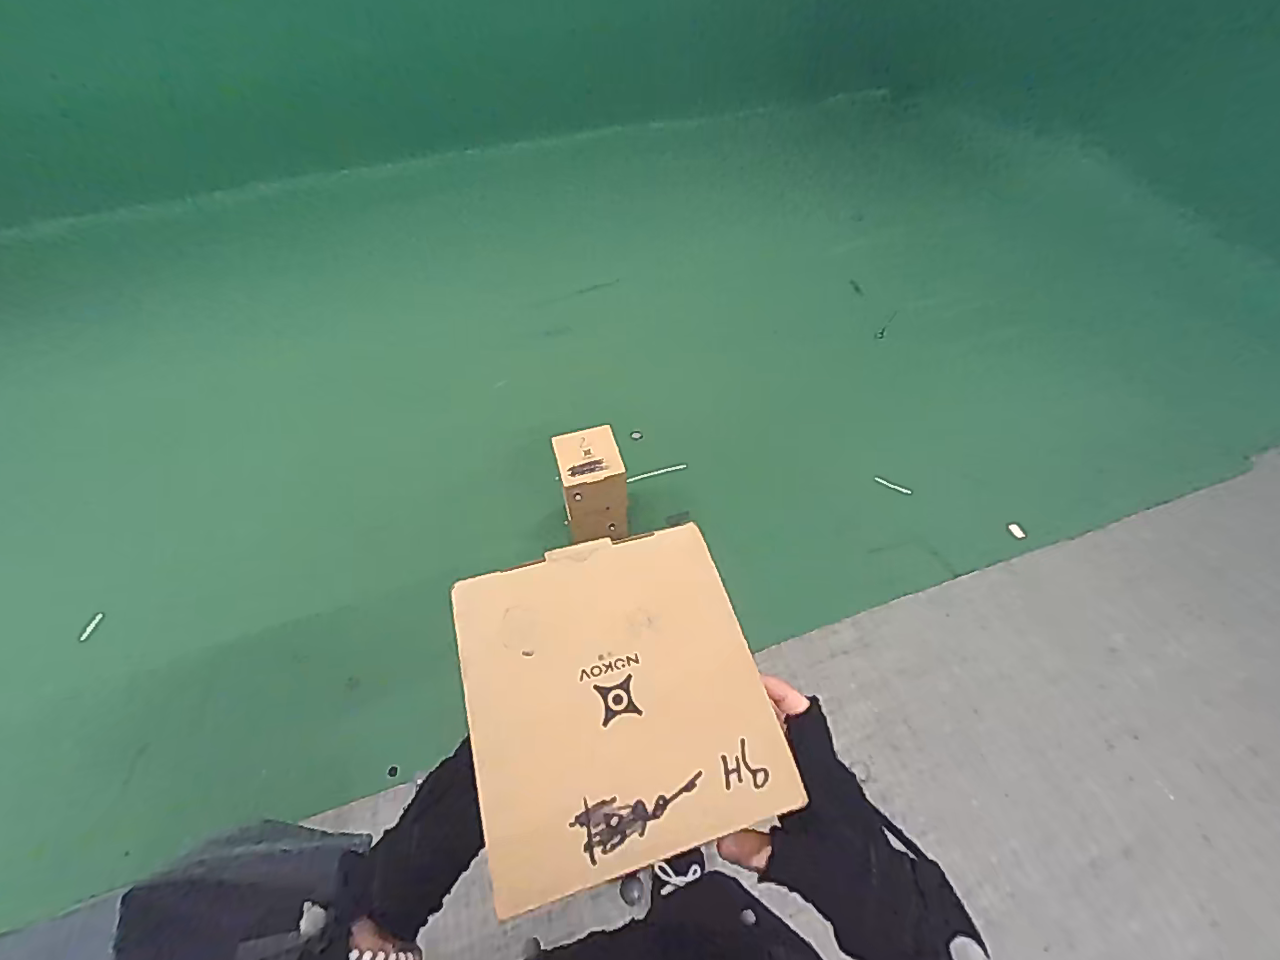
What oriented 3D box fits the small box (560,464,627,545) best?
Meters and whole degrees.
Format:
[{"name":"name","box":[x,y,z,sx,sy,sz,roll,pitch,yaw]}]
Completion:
[{"name":"small box","box":[-0.137,0.082,1.636,0.168,0.176,0.179,-12,56,-8]}]

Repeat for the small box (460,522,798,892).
[{"name":"small box","box":[-0.019,0.160,0.388,0.168,0.176,0.179,-14,58,-12]}]
